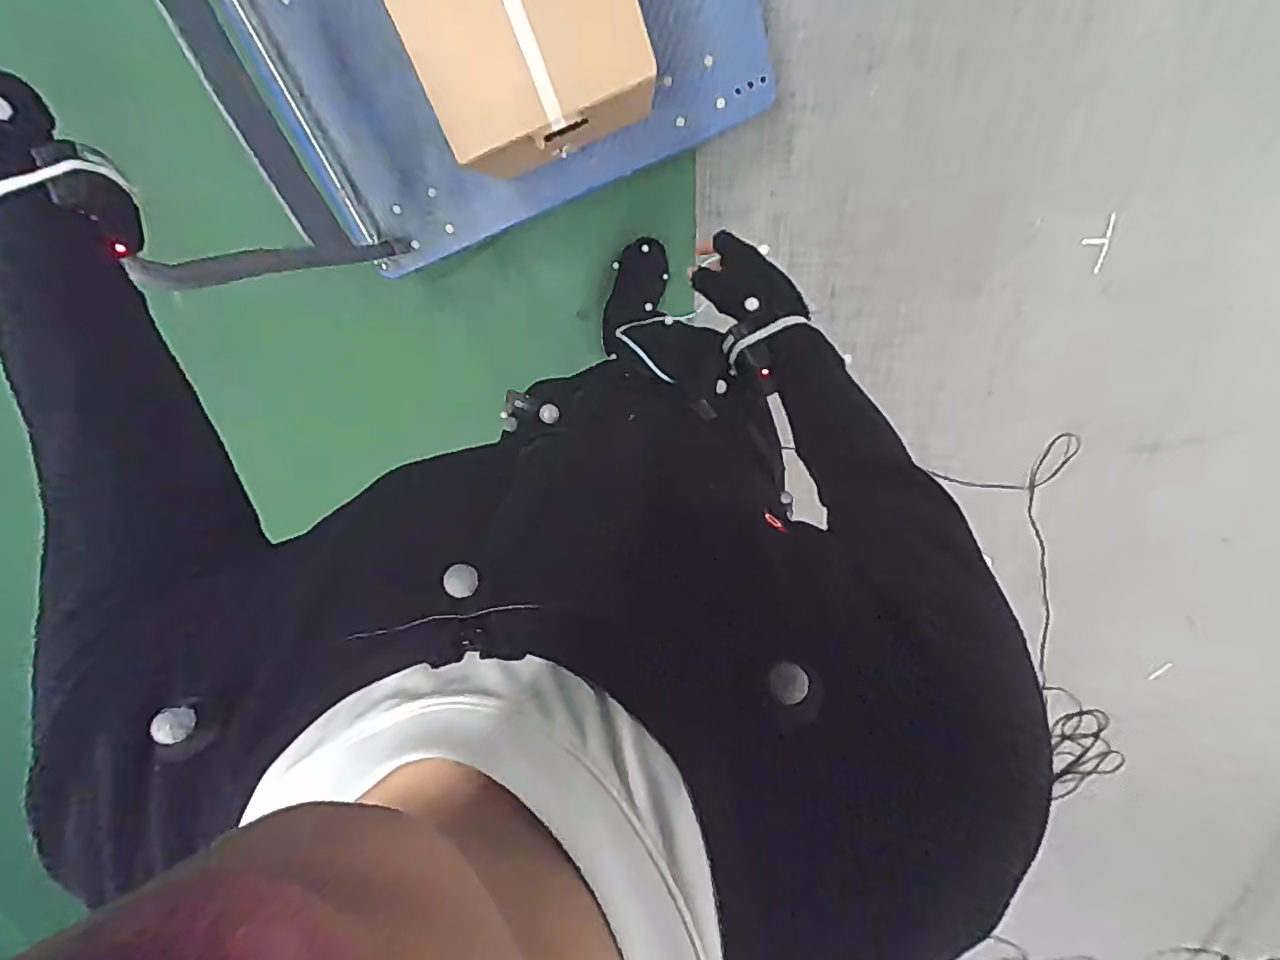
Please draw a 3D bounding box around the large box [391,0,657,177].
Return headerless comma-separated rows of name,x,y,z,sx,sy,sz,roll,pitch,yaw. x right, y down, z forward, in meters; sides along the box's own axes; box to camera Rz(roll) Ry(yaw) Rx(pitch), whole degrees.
large box,-0.186,-0.748,0.829,0.320,0.320,0.408,-19,113,8
